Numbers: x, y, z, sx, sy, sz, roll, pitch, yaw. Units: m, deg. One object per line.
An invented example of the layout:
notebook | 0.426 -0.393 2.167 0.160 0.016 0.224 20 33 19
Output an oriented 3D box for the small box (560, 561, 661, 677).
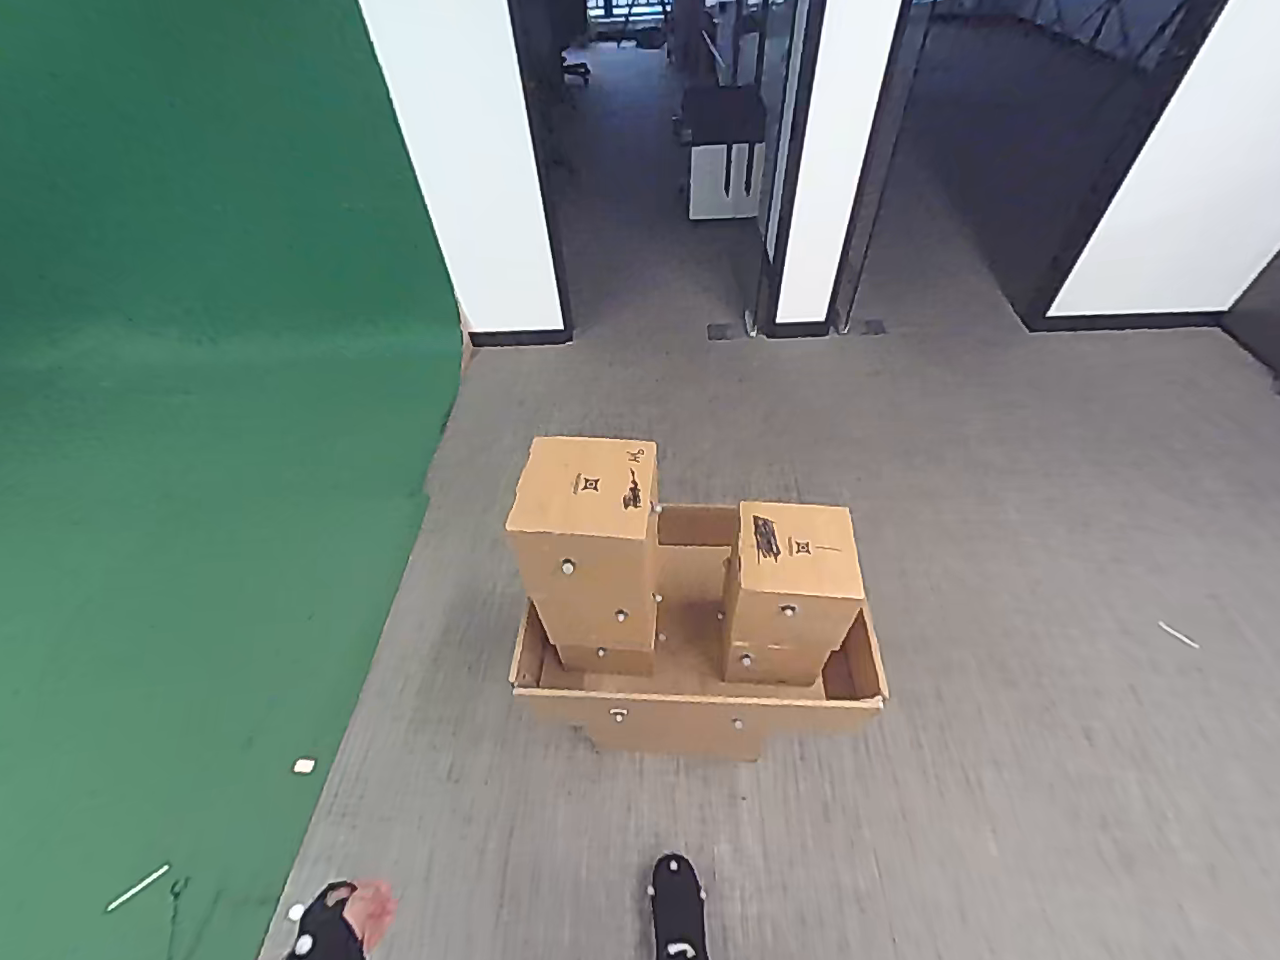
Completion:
small box | -0.053 0.259 1.020 0.179 0.176 0.168 3 50 5

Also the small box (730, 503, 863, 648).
small box | 0.238 0.156 0.870 0.179 0.176 0.168 4 49 6

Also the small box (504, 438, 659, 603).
small box | -0.068 0.059 0.761 0.179 0.176 0.168 3 50 6

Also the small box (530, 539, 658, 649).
small box | -0.064 0.164 0.888 0.179 0.176 0.168 3 50 5
